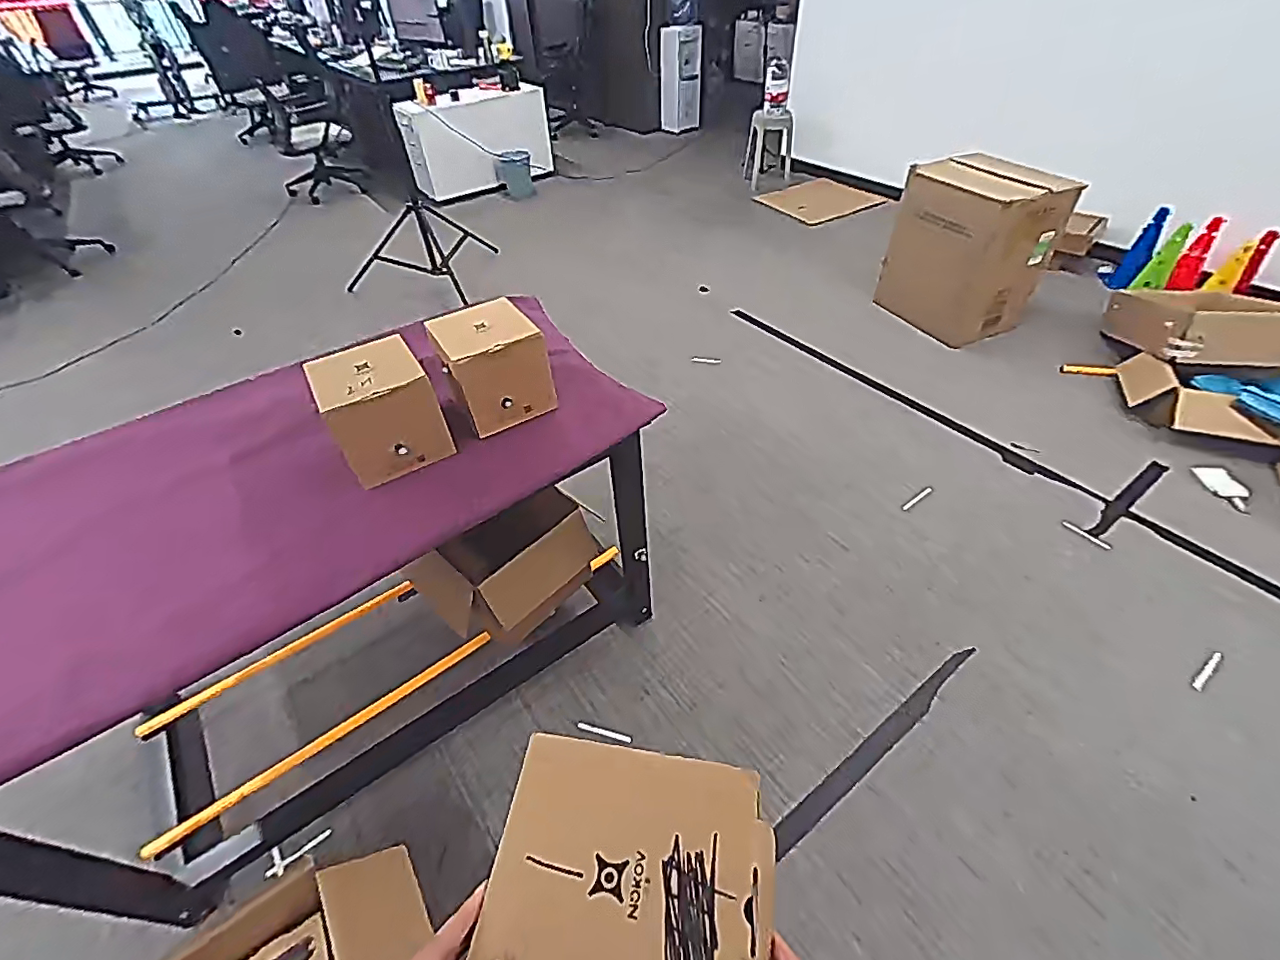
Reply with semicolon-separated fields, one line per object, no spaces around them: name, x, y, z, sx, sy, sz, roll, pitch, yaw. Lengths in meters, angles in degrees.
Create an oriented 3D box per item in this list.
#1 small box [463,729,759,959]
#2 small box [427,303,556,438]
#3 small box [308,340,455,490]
small box;-0.009;0.314;0.411;0.179;0.176;0.168;5;48;9
small box;-0.280;-0.209;1.032;0.168;0.176;0.179;-27;48;-21
small box;-0.449;-0.114;0.950;0.168;0.176;0.179;-27;48;-21
